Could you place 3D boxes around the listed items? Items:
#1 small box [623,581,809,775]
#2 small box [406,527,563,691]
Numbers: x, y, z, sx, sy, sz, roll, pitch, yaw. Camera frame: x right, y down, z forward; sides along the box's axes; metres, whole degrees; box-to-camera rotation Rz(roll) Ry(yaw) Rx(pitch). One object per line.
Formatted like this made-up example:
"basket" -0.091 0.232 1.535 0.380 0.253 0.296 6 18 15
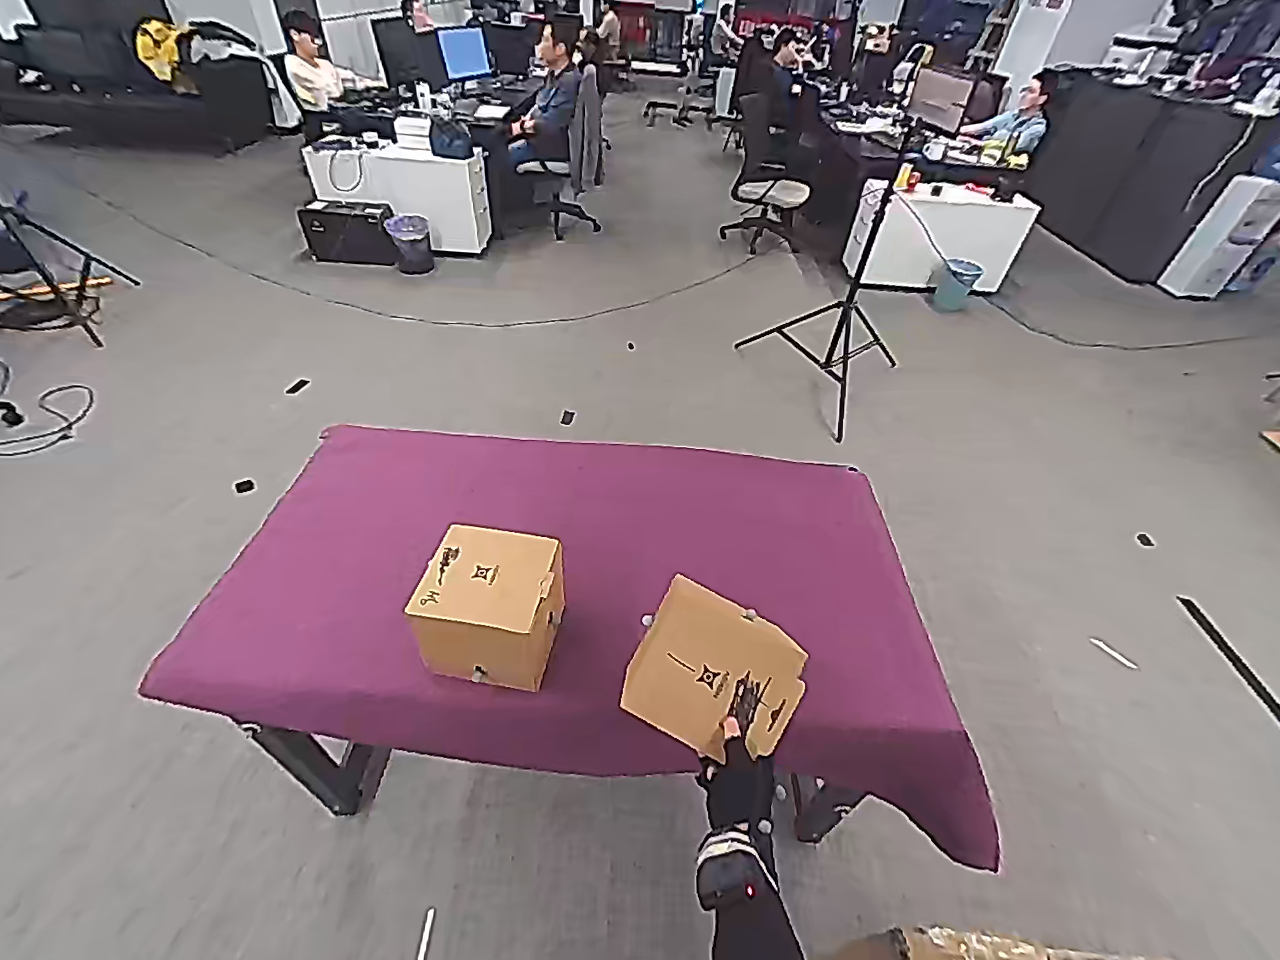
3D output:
"small box" 0.095 0.251 0.737 0.179 0.176 0.168 29 86 4
"small box" -0.223 0.200 0.829 0.179 0.176 0.168 9 42 3
